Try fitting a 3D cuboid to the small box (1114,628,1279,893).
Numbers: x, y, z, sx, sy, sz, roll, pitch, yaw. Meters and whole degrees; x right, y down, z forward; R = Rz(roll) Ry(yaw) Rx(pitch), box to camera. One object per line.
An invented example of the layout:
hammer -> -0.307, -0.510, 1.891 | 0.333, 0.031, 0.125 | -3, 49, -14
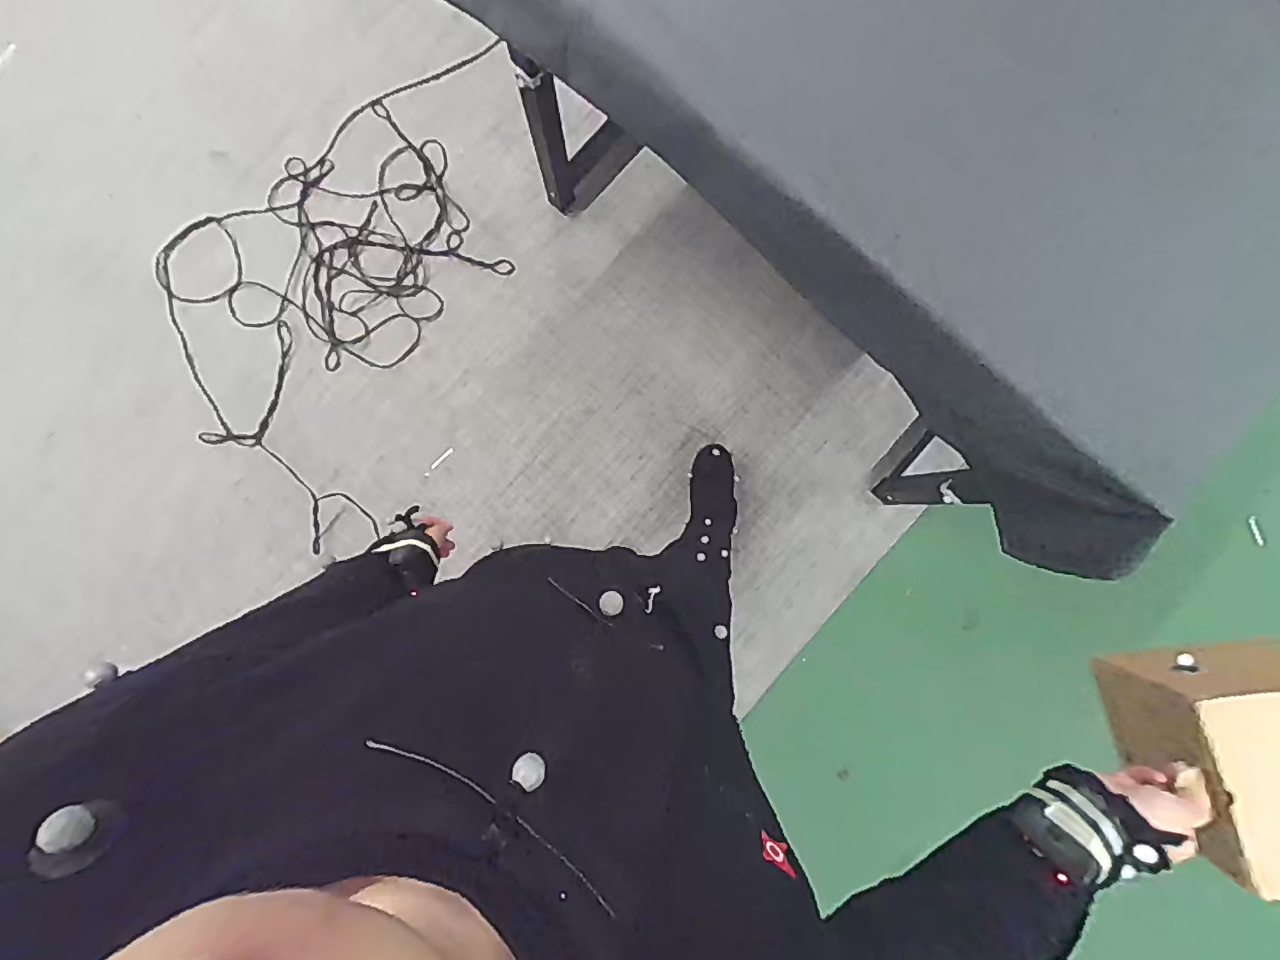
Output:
small box -> 0.601, 0.248, 0.511 | 0.179, 0.176, 0.168 | -13, 84, 12
